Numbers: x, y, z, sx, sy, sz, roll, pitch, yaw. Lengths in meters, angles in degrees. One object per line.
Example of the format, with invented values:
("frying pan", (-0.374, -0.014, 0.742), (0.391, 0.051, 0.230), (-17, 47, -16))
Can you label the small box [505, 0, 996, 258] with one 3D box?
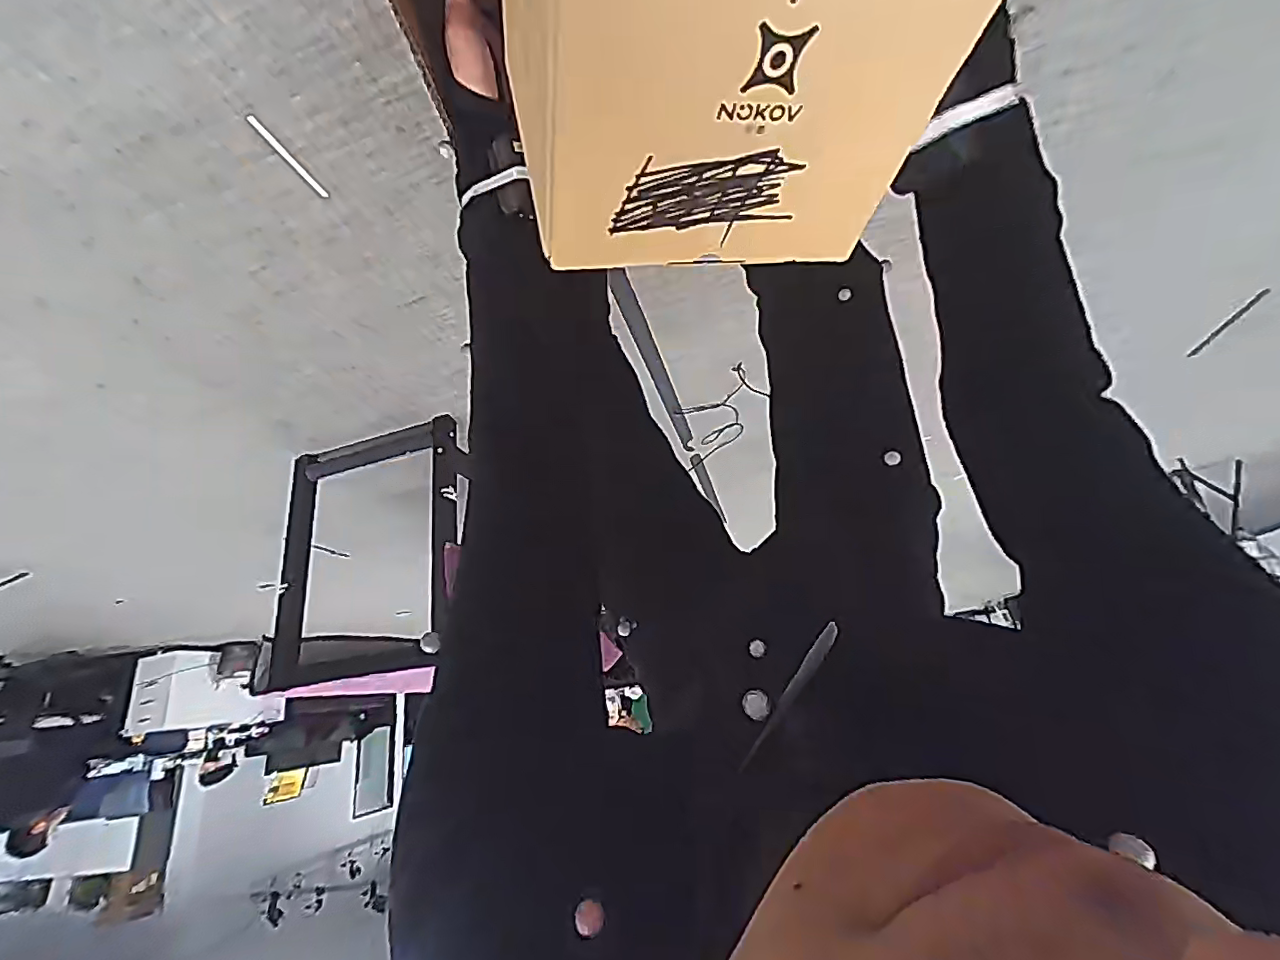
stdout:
("small box", (0.030, -0.228, 0.242), (0.168, 0.176, 0.179), (-7, 155, -14))
